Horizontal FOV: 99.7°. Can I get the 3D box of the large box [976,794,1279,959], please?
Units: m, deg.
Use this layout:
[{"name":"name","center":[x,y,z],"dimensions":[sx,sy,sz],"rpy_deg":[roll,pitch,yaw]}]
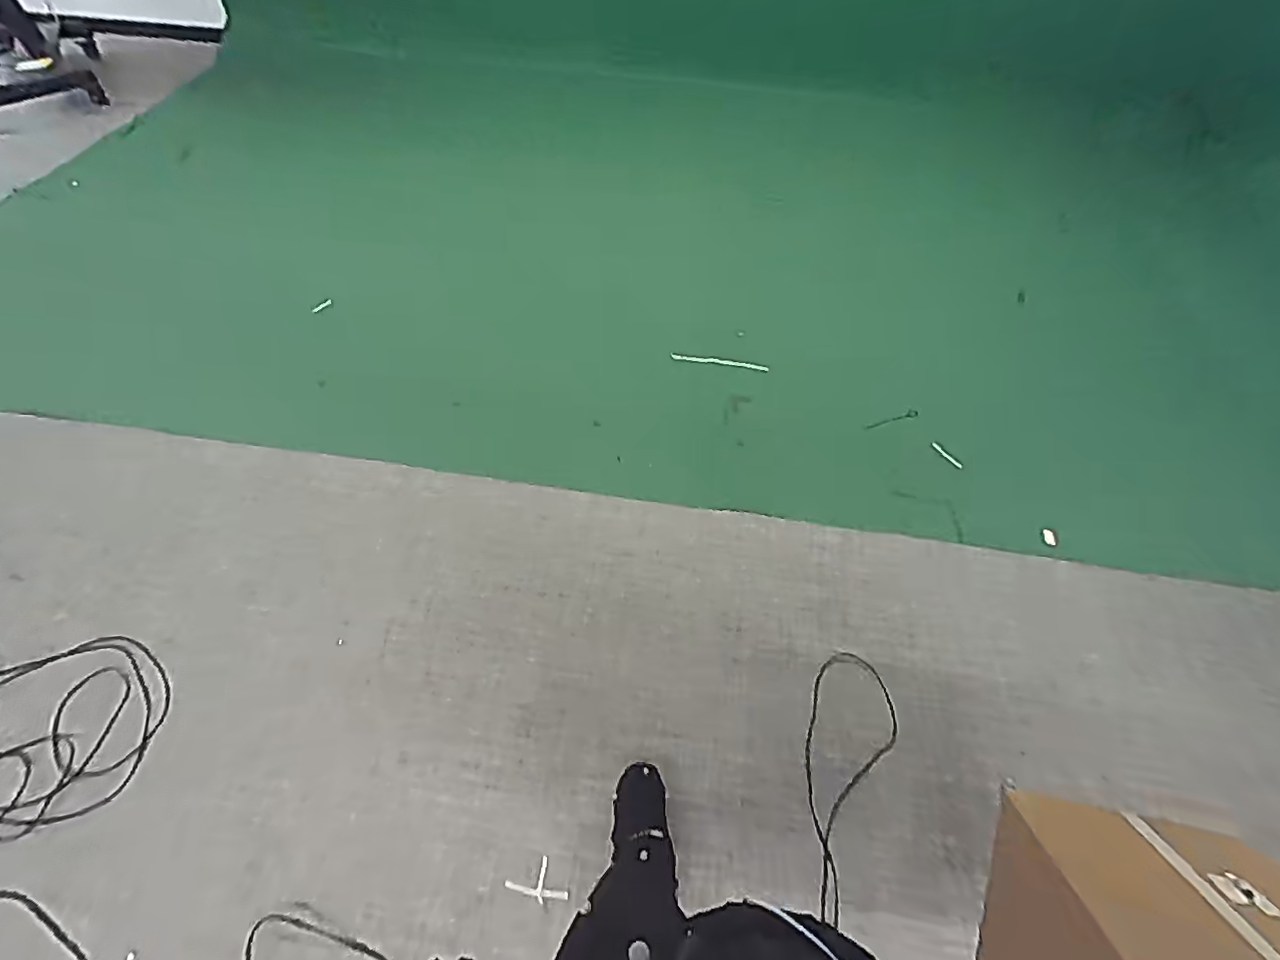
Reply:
[{"name":"large box","center":[0.625,0.644,0.597],"dimensions":[0.320,0.408,0.320],"rpy_deg":[8,93,13]}]
